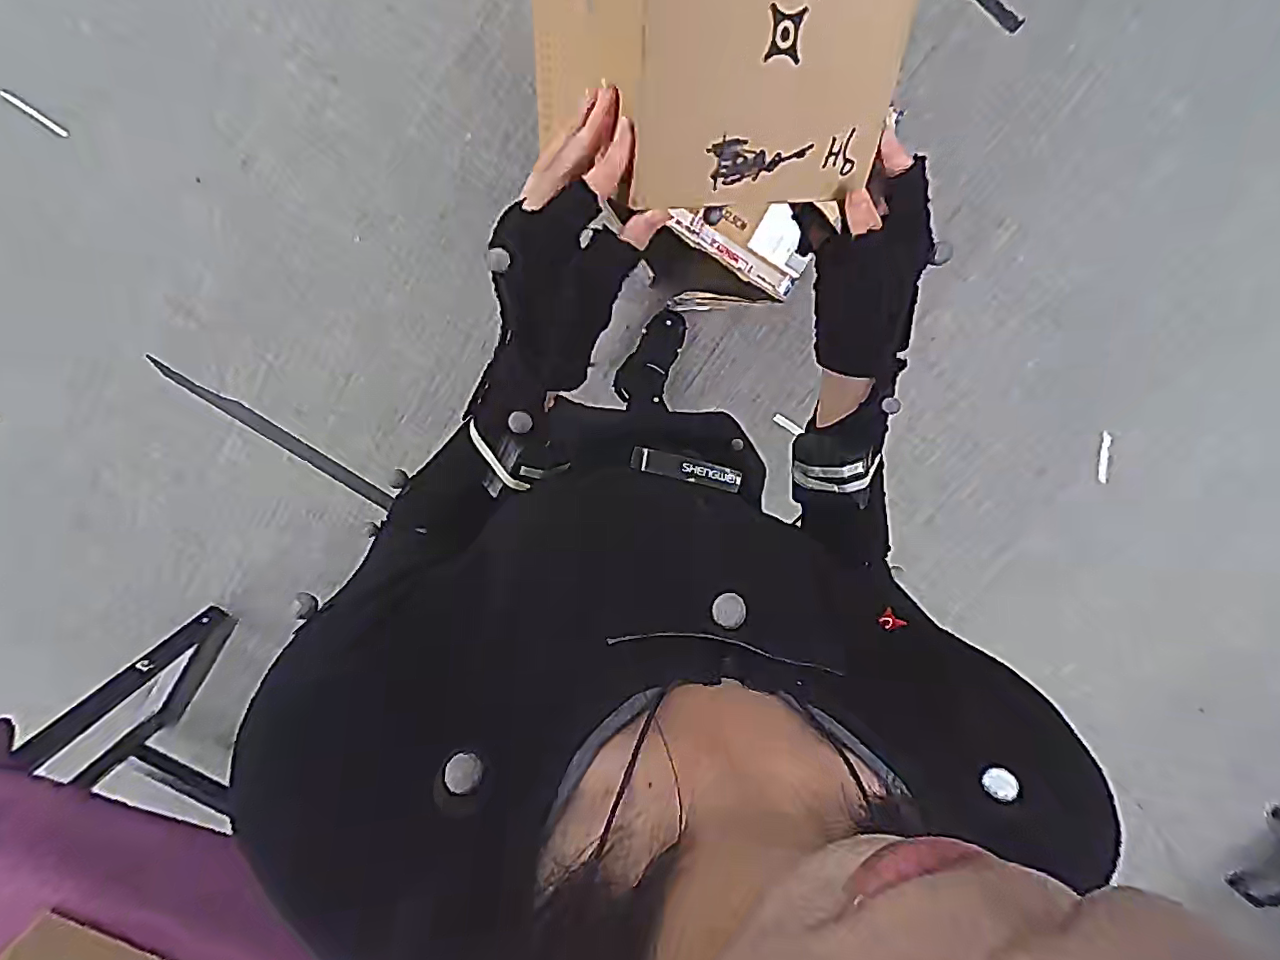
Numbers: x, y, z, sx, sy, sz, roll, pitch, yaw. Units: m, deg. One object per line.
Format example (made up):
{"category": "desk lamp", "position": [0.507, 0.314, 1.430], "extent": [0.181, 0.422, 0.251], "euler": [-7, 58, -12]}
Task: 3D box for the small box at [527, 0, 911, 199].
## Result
{"category": "small box", "position": [0.035, -0.277, 0.318], "extent": [0.168, 0.176, 0.179], "euler": [-16, 130, -23]}
